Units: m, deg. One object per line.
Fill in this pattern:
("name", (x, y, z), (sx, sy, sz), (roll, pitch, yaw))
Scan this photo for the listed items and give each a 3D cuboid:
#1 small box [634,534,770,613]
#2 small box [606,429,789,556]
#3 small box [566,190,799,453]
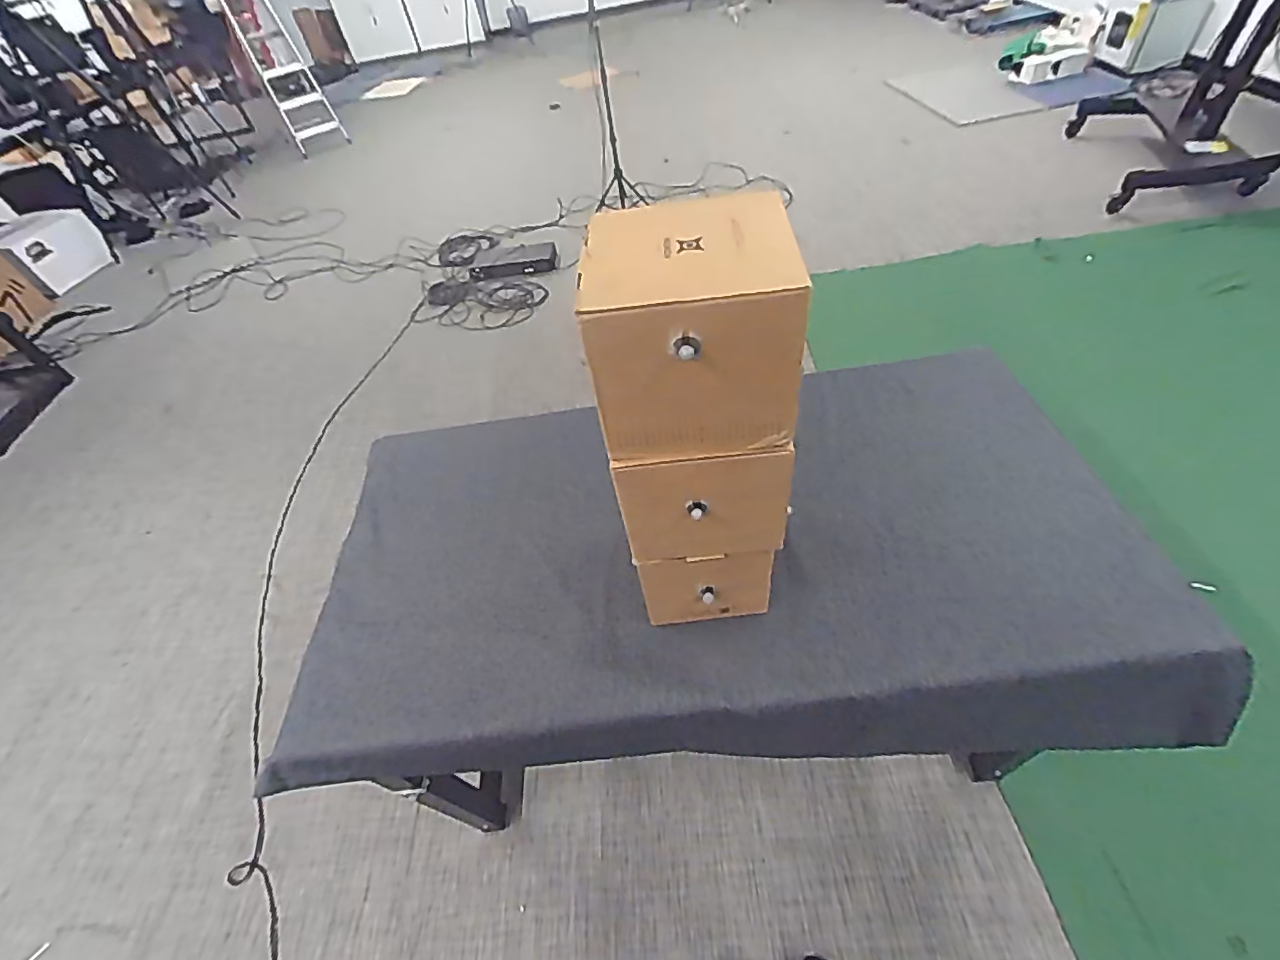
("small box", (0.081, 0.071, 0.752), (0.168, 0.176, 0.179), (-9, 49, 4))
("small box", (0.064, -0.030, 0.622), (0.179, 0.176, 0.168), (-7, 49, 6))
("small box", (0.042, -0.139, 0.505), (0.179, 0.176, 0.168), (-5, 50, 6))
